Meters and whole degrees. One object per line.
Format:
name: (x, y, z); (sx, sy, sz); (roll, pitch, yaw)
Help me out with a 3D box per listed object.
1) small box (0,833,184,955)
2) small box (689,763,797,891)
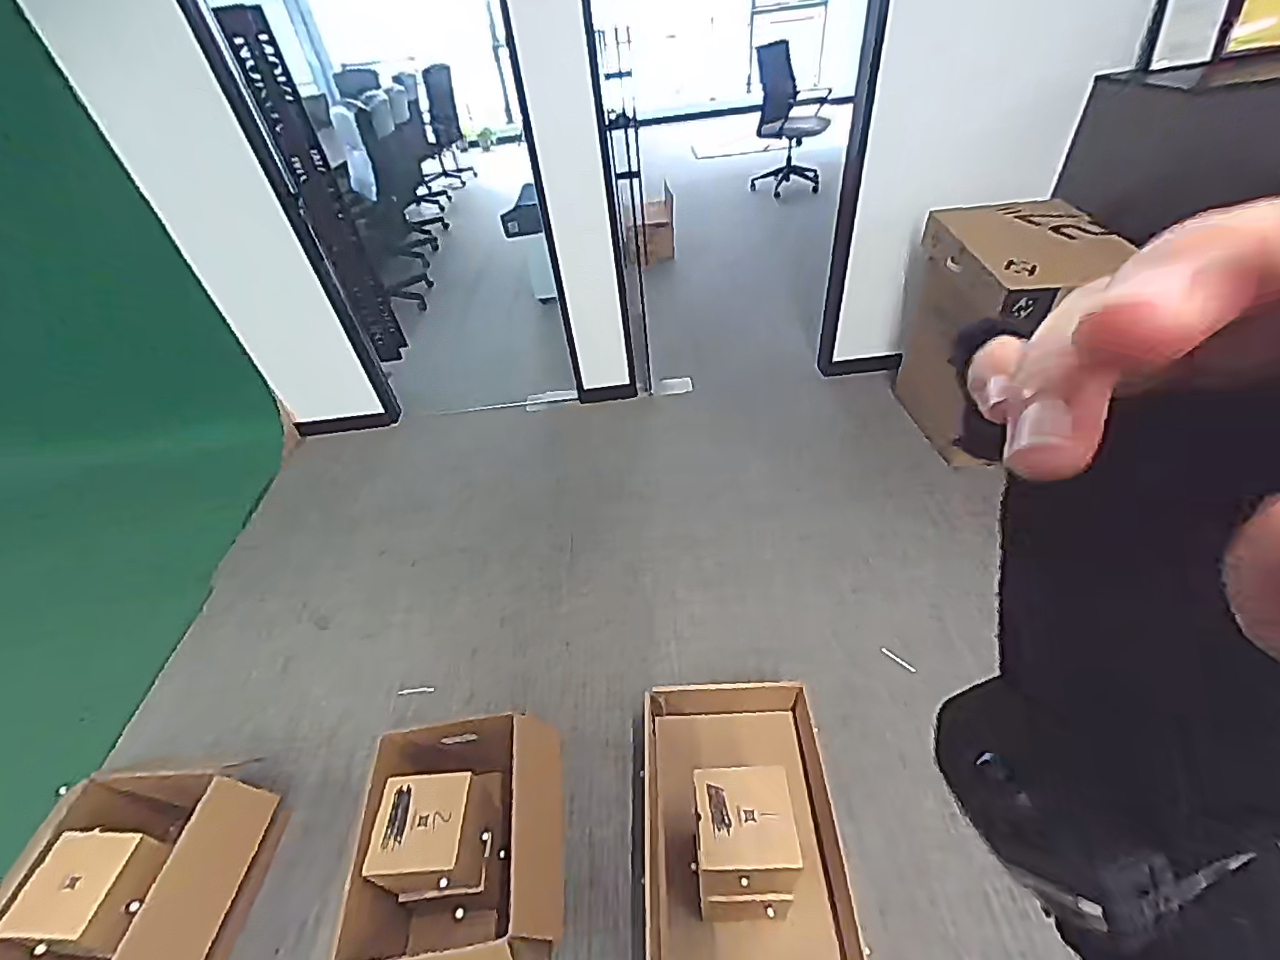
small box: (-1.071, 0.816, 1.067); (0.179, 0.176, 0.168); (-2, 42, 4)
small box: (0.188, 0.664, 1.032); (0.179, 0.176, 0.168); (-3, 40, 2)
